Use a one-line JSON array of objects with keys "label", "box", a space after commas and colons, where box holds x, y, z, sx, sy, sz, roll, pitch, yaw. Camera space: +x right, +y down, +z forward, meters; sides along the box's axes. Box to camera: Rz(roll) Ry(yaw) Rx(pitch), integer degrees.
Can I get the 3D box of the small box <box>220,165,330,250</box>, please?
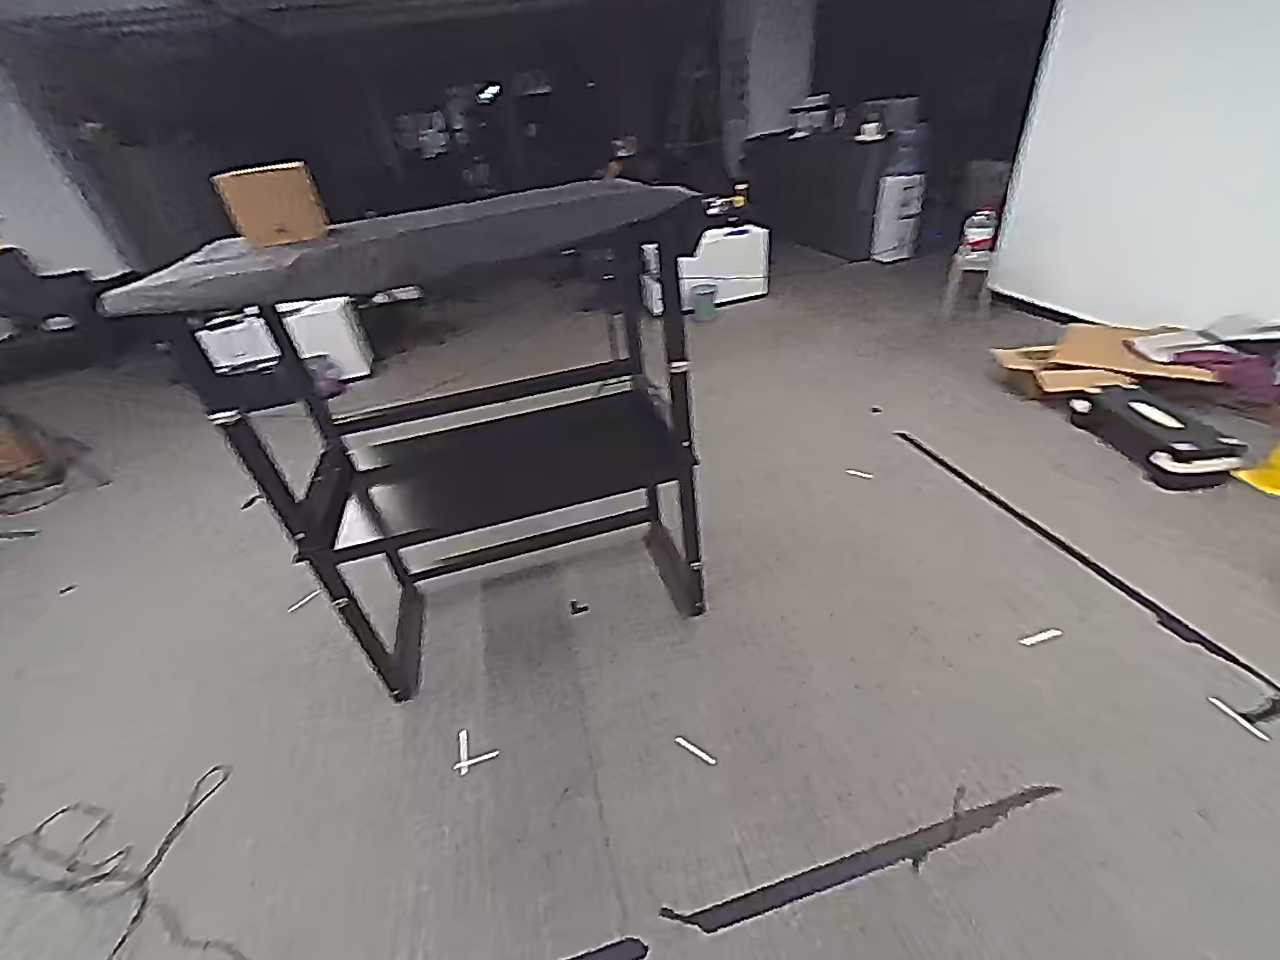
[{"label": "small box", "box": [-0.952, -0.723, 1.432, 0.179, 0.176, 0.168, -14, 36, -11]}]
